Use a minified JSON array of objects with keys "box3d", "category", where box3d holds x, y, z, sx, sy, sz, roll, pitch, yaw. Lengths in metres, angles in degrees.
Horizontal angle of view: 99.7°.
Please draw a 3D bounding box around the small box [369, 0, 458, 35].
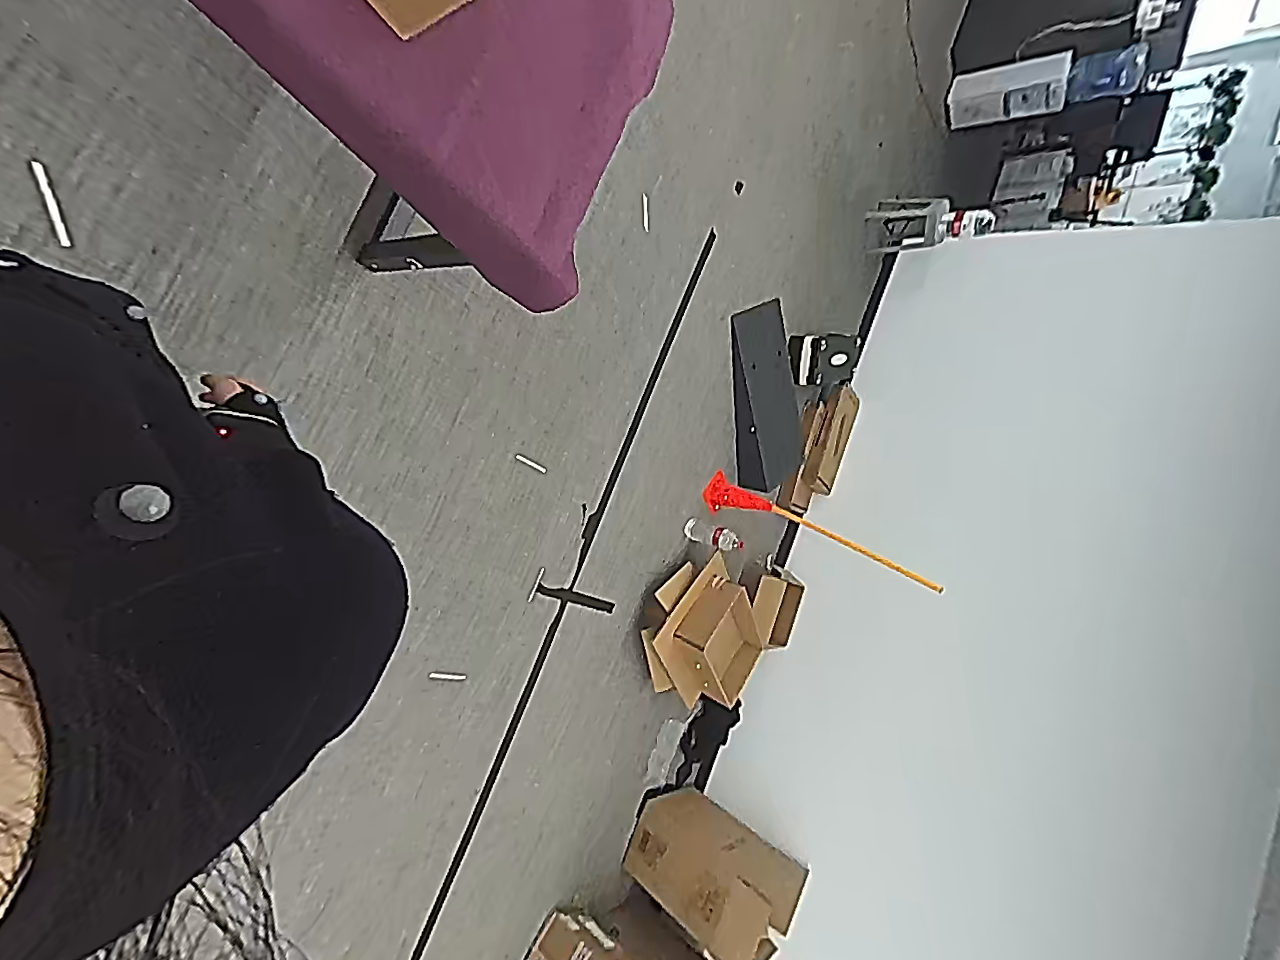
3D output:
[{"box3d":[-0.264,-0.663,0.611,0.168,0.176,0.179,32,76,-50],"category":"small box"}]
